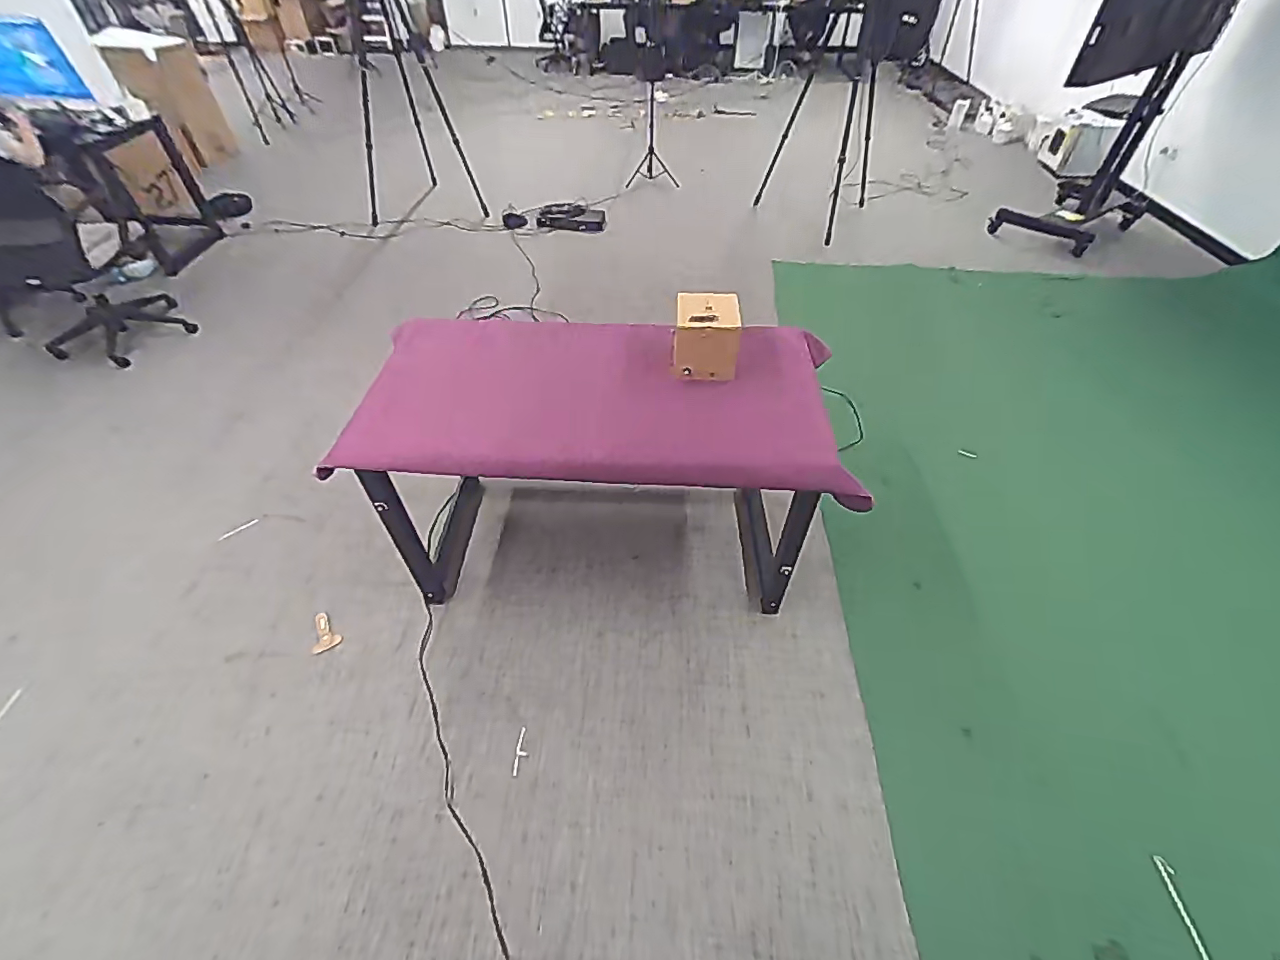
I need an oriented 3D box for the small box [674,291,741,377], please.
[{"bbox_3d":[0.181,-0.397,1.475,0.168,0.176,0.179,2,46,2],"label":"small box"}]
